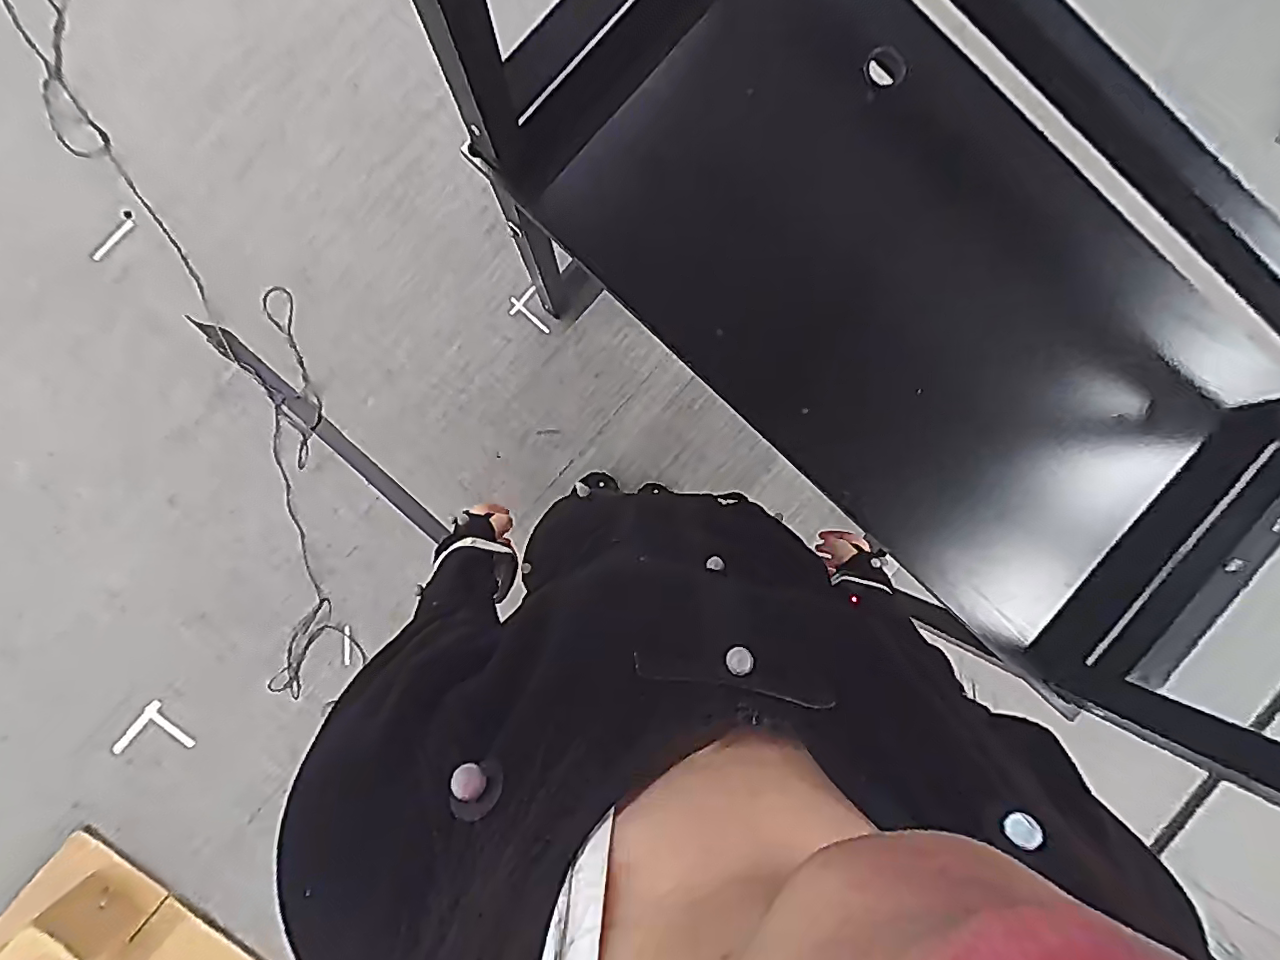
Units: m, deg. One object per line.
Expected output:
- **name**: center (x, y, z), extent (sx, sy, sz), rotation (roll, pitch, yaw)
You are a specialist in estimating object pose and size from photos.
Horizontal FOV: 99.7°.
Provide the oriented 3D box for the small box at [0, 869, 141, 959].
- **small box**: center (-1.425, 1.139, 1.349), extent (0.168, 0.176, 0.179), rotation (42, 88, -4)
